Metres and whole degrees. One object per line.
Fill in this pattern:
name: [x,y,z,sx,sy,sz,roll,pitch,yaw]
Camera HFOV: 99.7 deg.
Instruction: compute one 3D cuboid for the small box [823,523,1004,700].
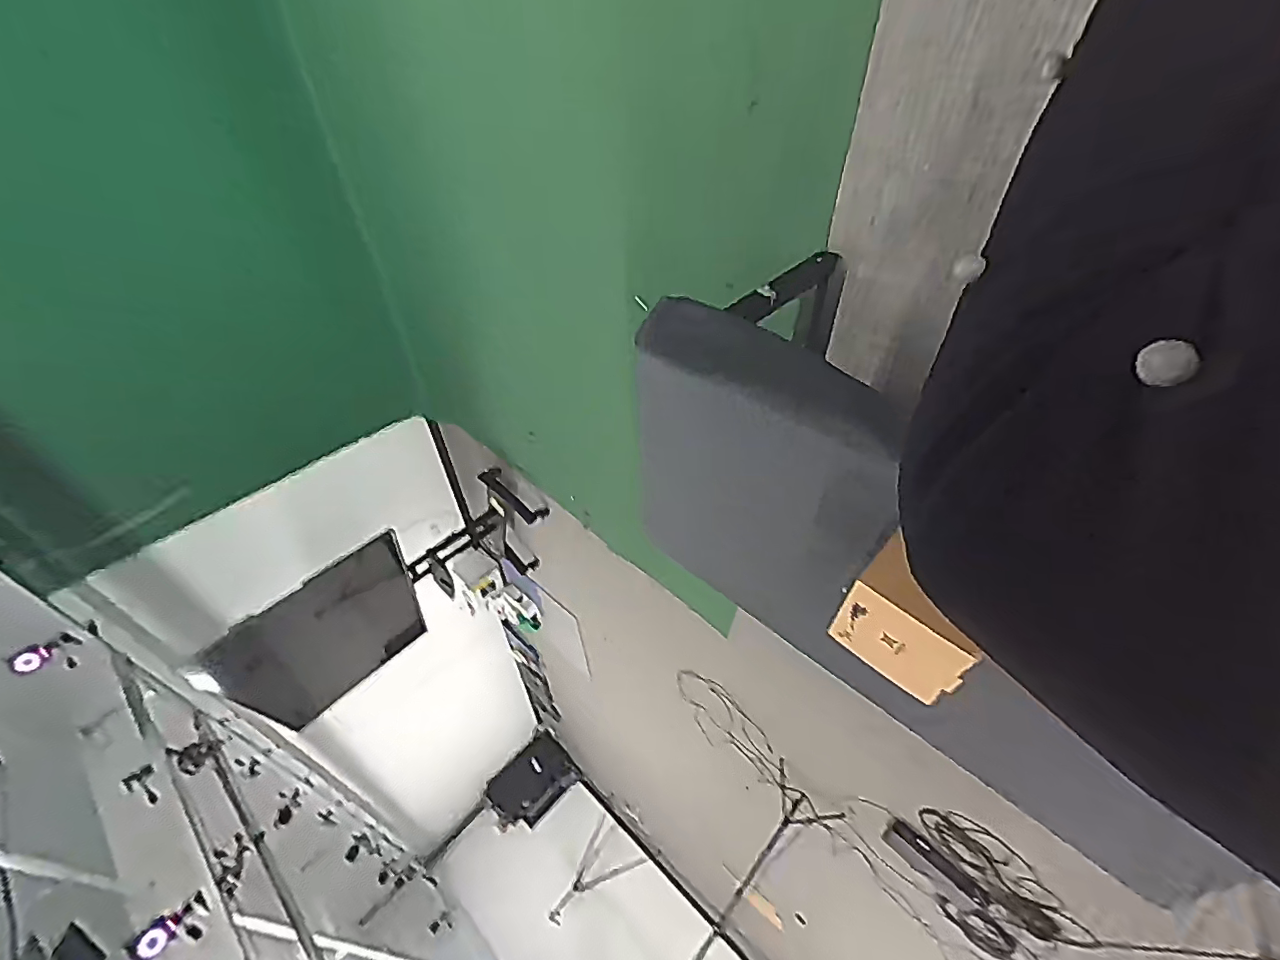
small box: [0.424,0.198,0.847,0.179,0.176,0.168,36,146,27]
